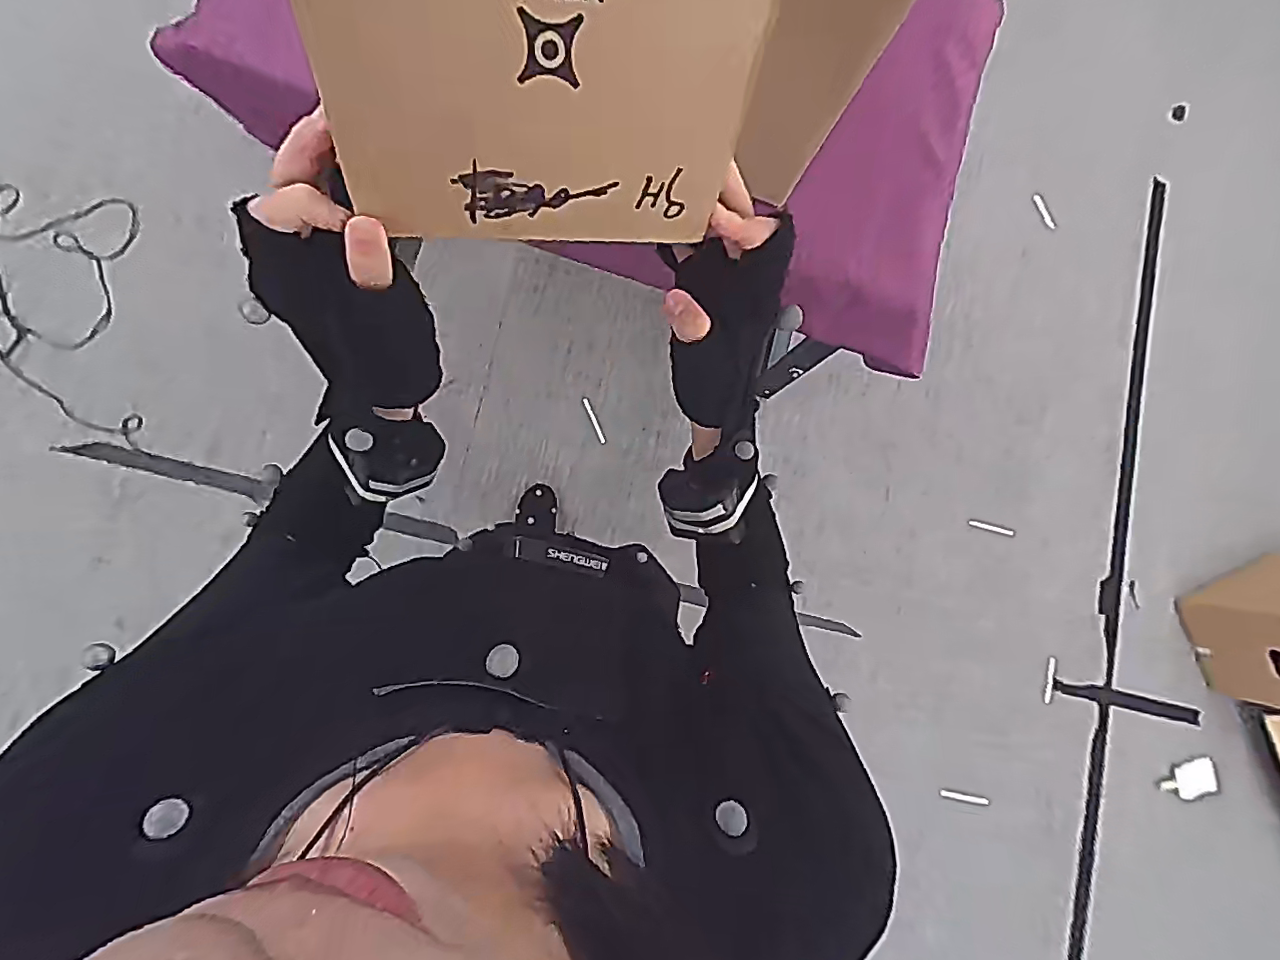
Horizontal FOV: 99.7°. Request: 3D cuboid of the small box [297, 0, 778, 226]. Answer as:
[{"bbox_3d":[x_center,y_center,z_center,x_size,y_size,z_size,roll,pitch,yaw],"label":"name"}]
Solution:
[{"bbox_3d":[-0.046,-0.234,0.220,0.168,0.179,0.176,-5,60,-15],"label":"small box"}]
